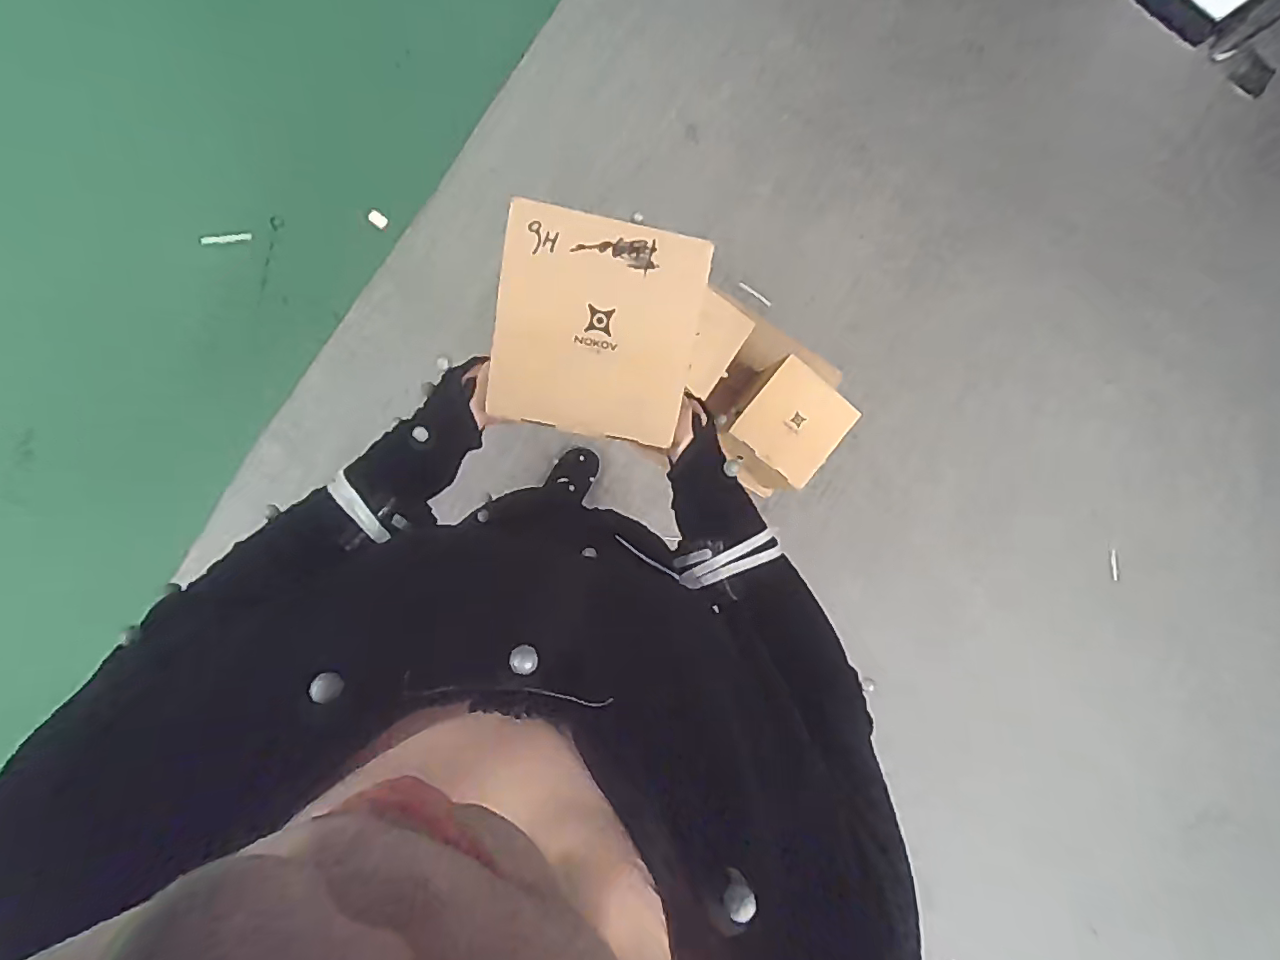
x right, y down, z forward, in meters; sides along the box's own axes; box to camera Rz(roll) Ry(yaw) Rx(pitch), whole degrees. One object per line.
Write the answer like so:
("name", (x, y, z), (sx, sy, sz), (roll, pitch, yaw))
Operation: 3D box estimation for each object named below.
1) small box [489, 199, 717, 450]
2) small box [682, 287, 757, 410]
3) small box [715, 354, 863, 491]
("small box", (-0.037, -0.143, 0.521), (0.168, 0.176, 0.179), (9, 105, -7))
("small box", (0.077, -0.240, 0.975), (0.168, 0.176, 0.179), (35, 88, -8))
("small box", (0.262, -0.099, 0.997), (0.168, 0.176, 0.179), (40, 87, -4))
